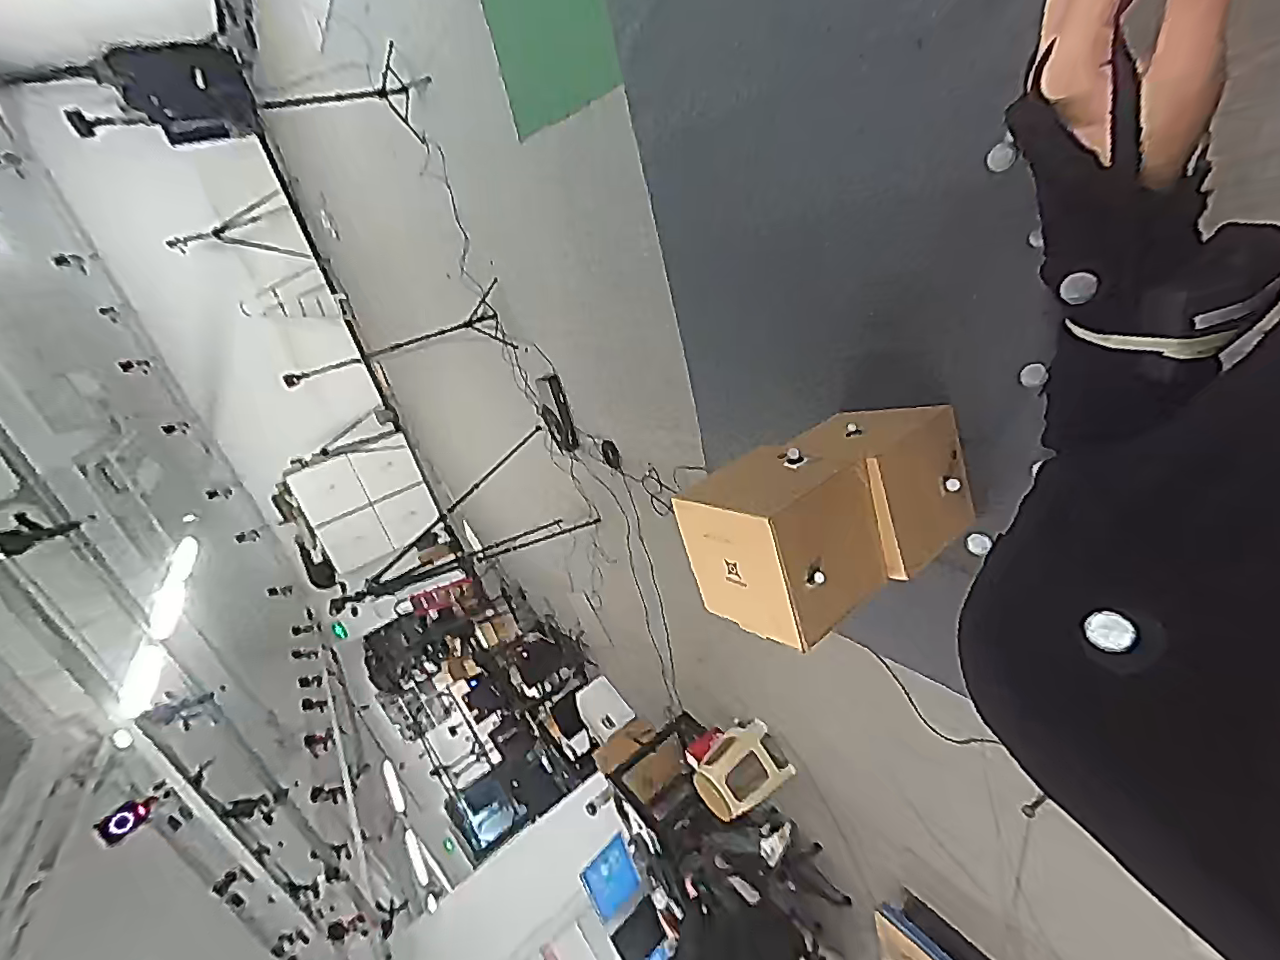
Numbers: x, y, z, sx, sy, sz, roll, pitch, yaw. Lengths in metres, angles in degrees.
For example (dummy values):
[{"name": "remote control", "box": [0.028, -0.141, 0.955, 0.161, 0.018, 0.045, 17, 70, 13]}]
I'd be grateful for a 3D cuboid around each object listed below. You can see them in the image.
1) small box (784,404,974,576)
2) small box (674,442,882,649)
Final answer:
[{"name": "small box", "box": [0.312, 0.005, 0.735, 0.179, 0.176, 0.168, 4, 119, 58]}, {"name": "small box", "box": [0.175, 0.068, 0.671, 0.168, 0.176, 0.179, 9, 123, 55]}]
